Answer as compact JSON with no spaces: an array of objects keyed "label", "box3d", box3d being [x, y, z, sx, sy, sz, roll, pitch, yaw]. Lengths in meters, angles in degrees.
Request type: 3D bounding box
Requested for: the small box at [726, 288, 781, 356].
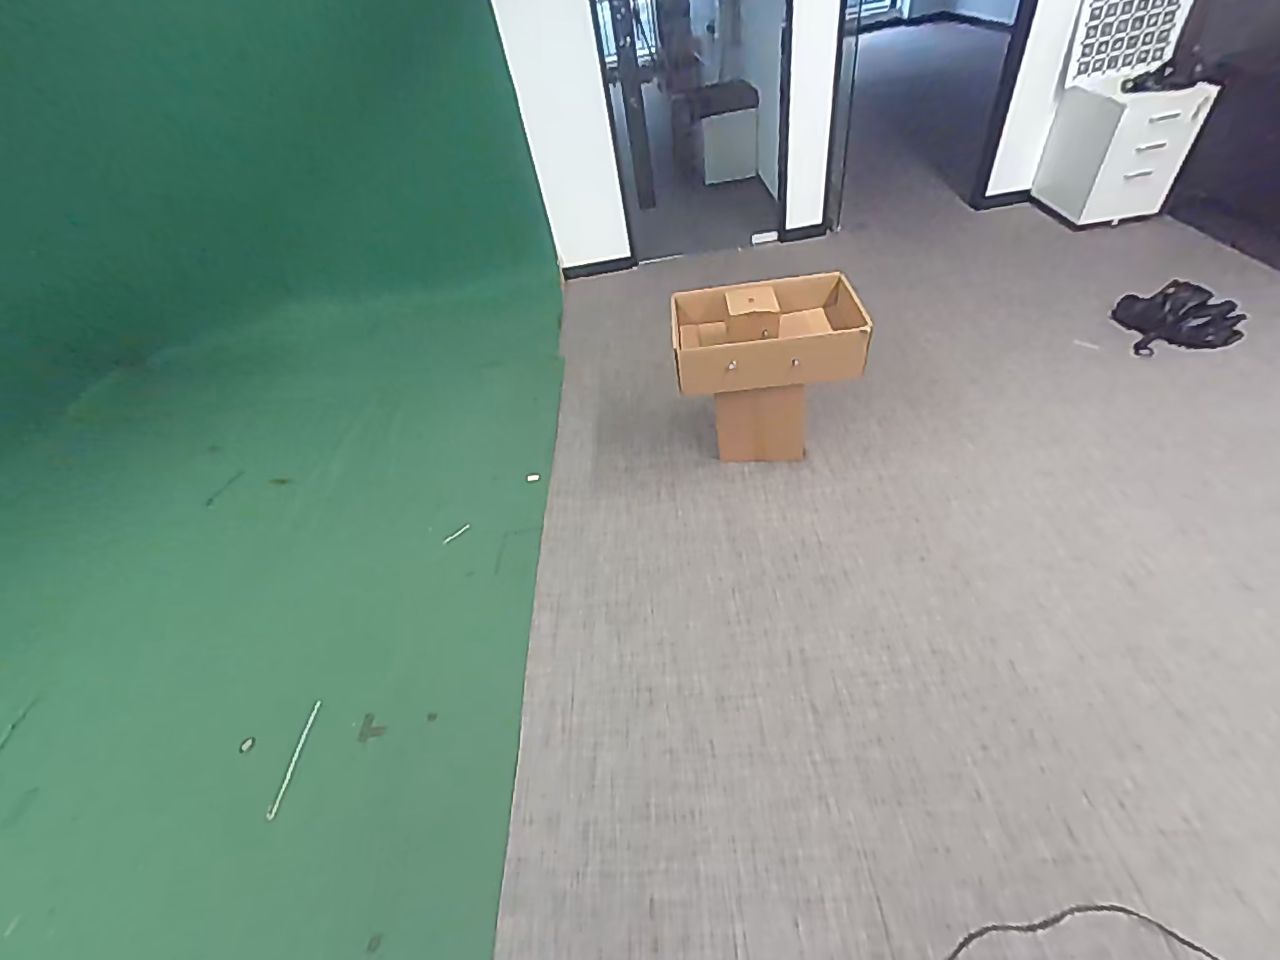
[{"label":"small box","box3d":[0.391,-0.542,1.875,0.168,0.176,0.179,-4,43,5]}]
